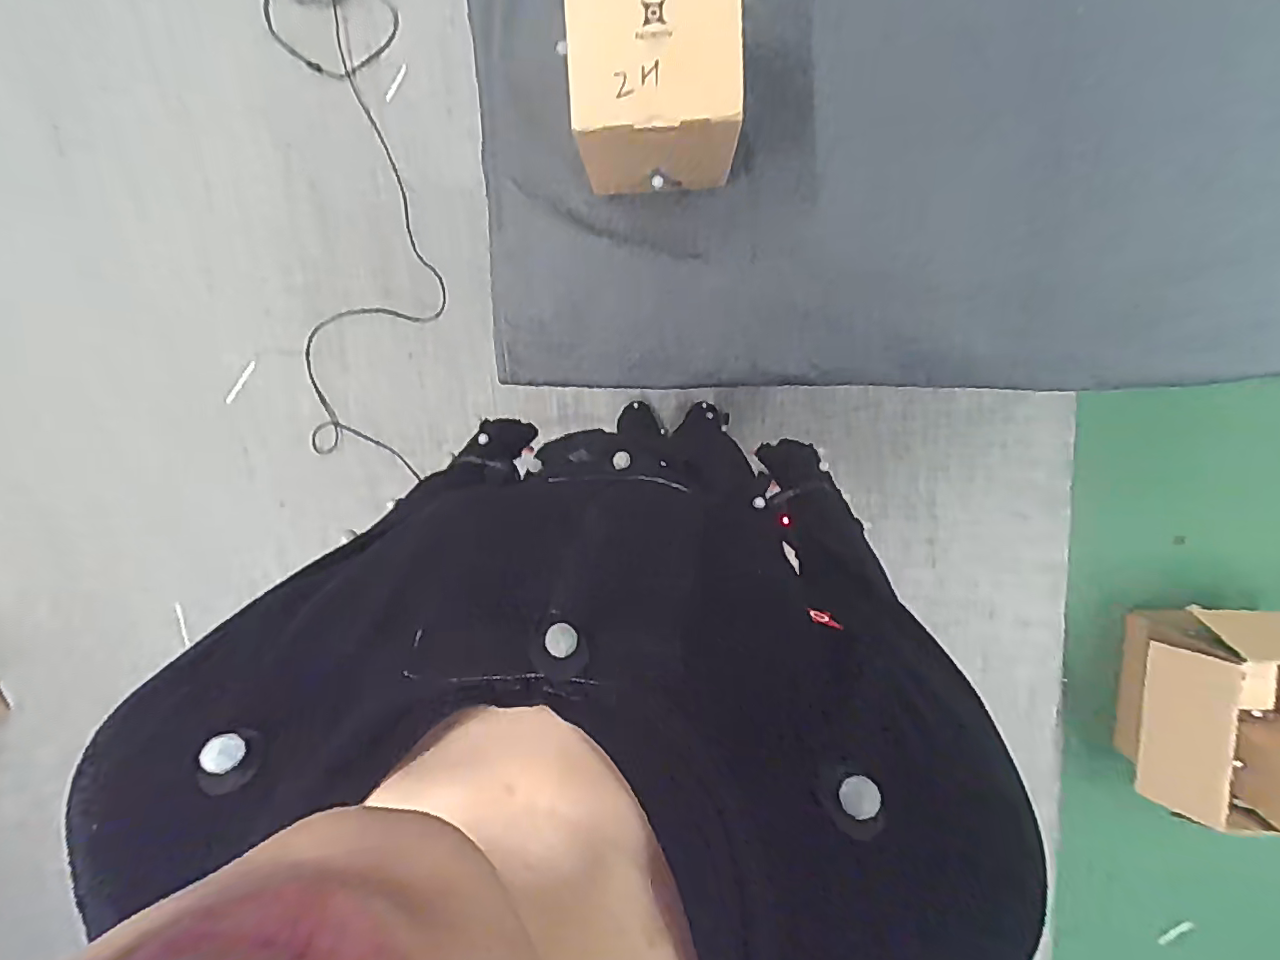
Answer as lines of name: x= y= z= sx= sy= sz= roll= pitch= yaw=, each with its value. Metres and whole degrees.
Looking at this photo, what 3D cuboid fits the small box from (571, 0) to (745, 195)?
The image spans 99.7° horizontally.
small box: x=0.019 y=-0.436 z=0.584 sx=0.168 sy=0.176 sz=0.179 roll=-2 pitch=98 yaw=3
